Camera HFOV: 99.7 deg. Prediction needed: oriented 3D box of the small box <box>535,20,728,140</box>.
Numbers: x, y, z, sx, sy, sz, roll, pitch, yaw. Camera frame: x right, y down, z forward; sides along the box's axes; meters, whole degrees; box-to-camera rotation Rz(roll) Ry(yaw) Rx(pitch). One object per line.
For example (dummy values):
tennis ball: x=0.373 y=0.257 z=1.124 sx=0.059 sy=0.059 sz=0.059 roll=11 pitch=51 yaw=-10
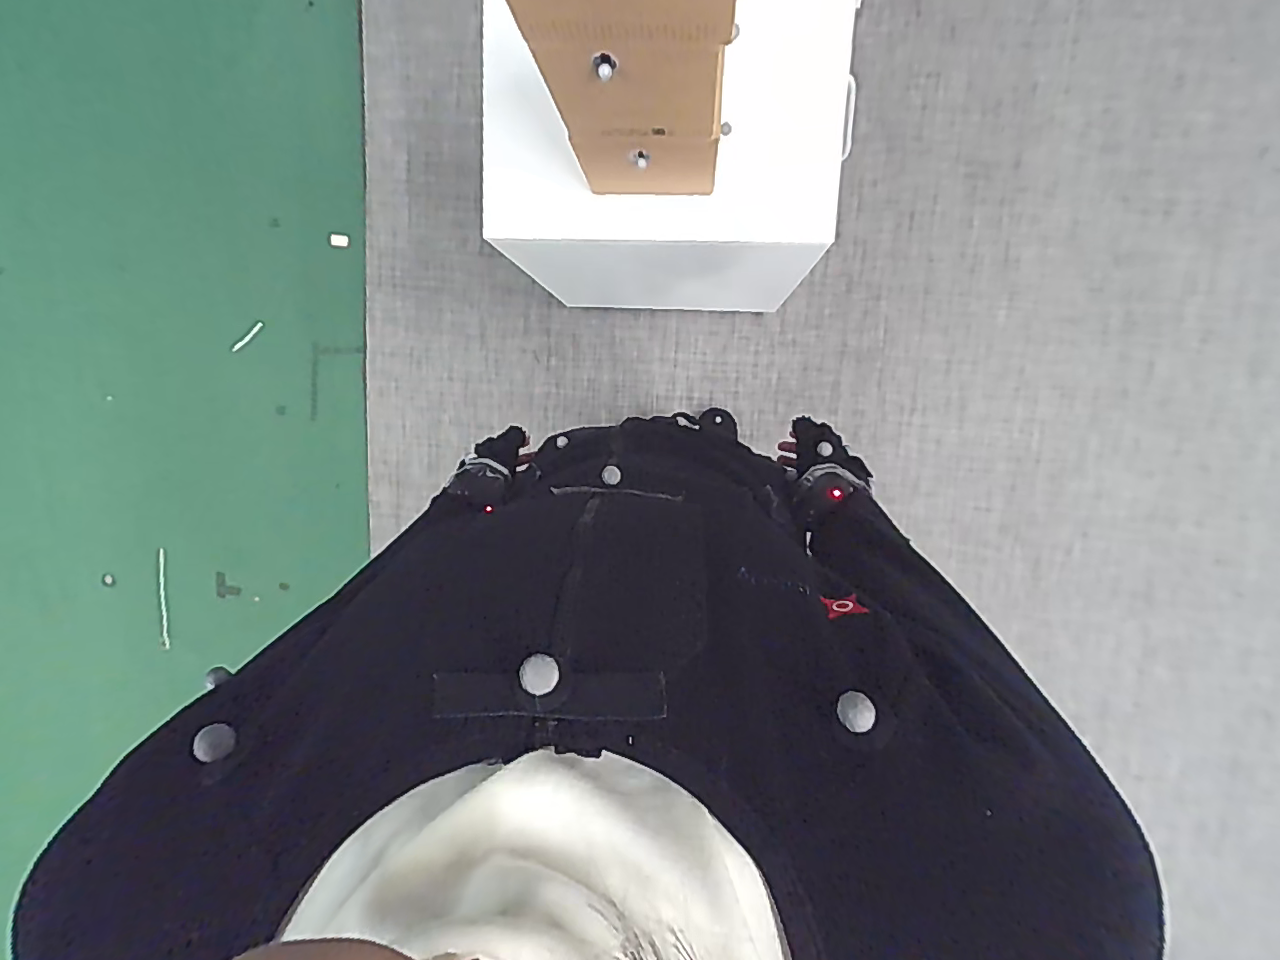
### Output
small box: x=0.000 y=-0.464 z=0.525 sx=0.168 sy=0.176 sz=0.179 roll=2 pitch=99 yaw=5

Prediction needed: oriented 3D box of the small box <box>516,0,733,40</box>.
small box: x=-0.015 y=-0.437 z=0.361 sx=0.179 sy=0.176 sz=0.168 roll=5 pitch=99 yaw=5

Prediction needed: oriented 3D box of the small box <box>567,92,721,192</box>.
small box: x=0.013 y=-0.482 z=0.684 sx=0.179 sy=0.176 sz=0.168 roll=3 pitch=98 yaw=4
